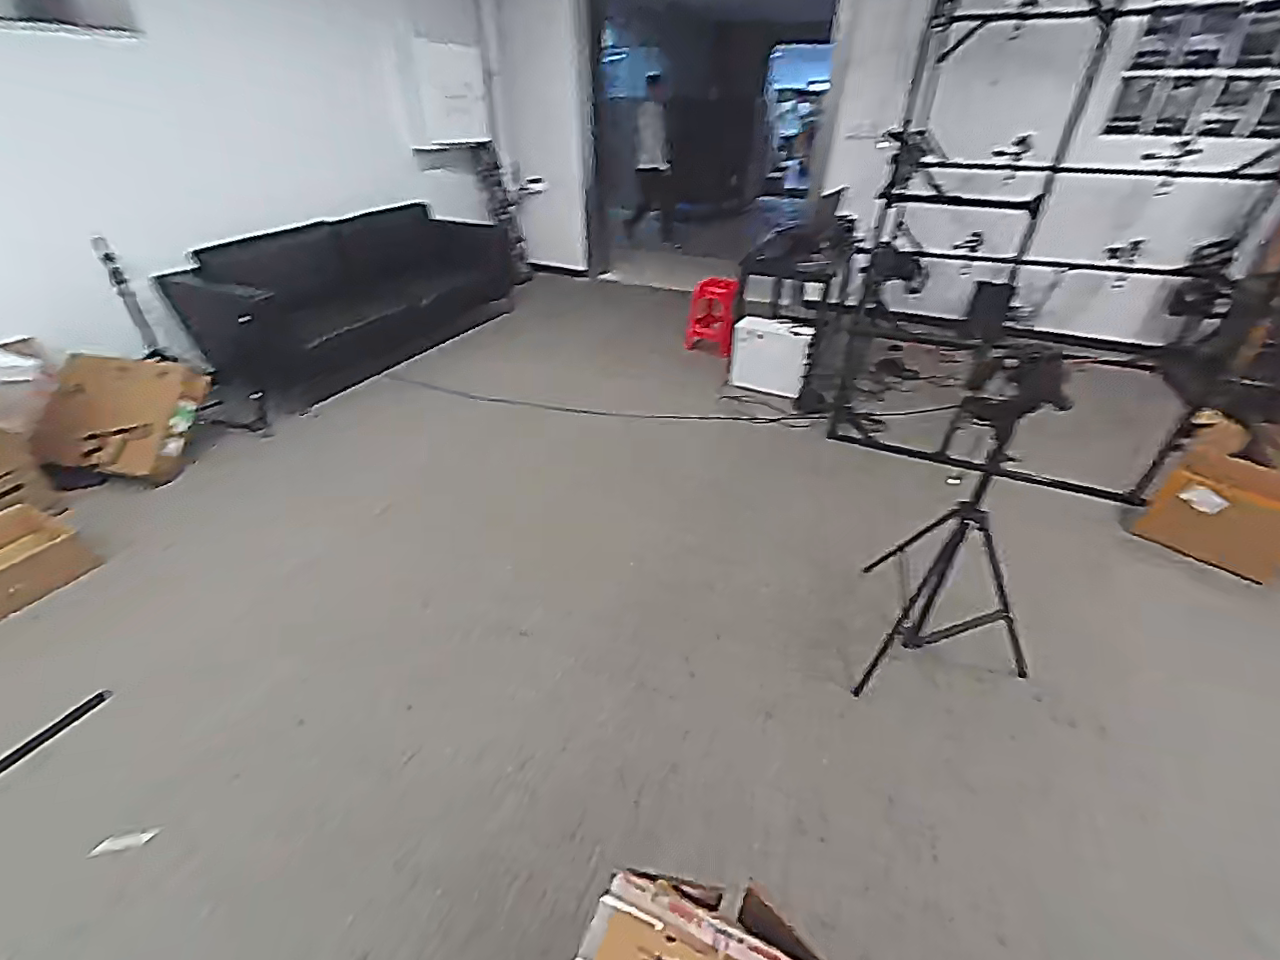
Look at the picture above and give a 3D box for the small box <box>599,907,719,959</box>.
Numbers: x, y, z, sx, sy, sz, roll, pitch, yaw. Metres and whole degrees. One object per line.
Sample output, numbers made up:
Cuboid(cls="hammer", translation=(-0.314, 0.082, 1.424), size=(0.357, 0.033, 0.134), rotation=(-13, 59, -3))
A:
Cuboid(cls="small box", translation=(0.012, 0.697, 0.679), size=(0.168, 0.176, 0.179), rotation=(13, 40, 19))
